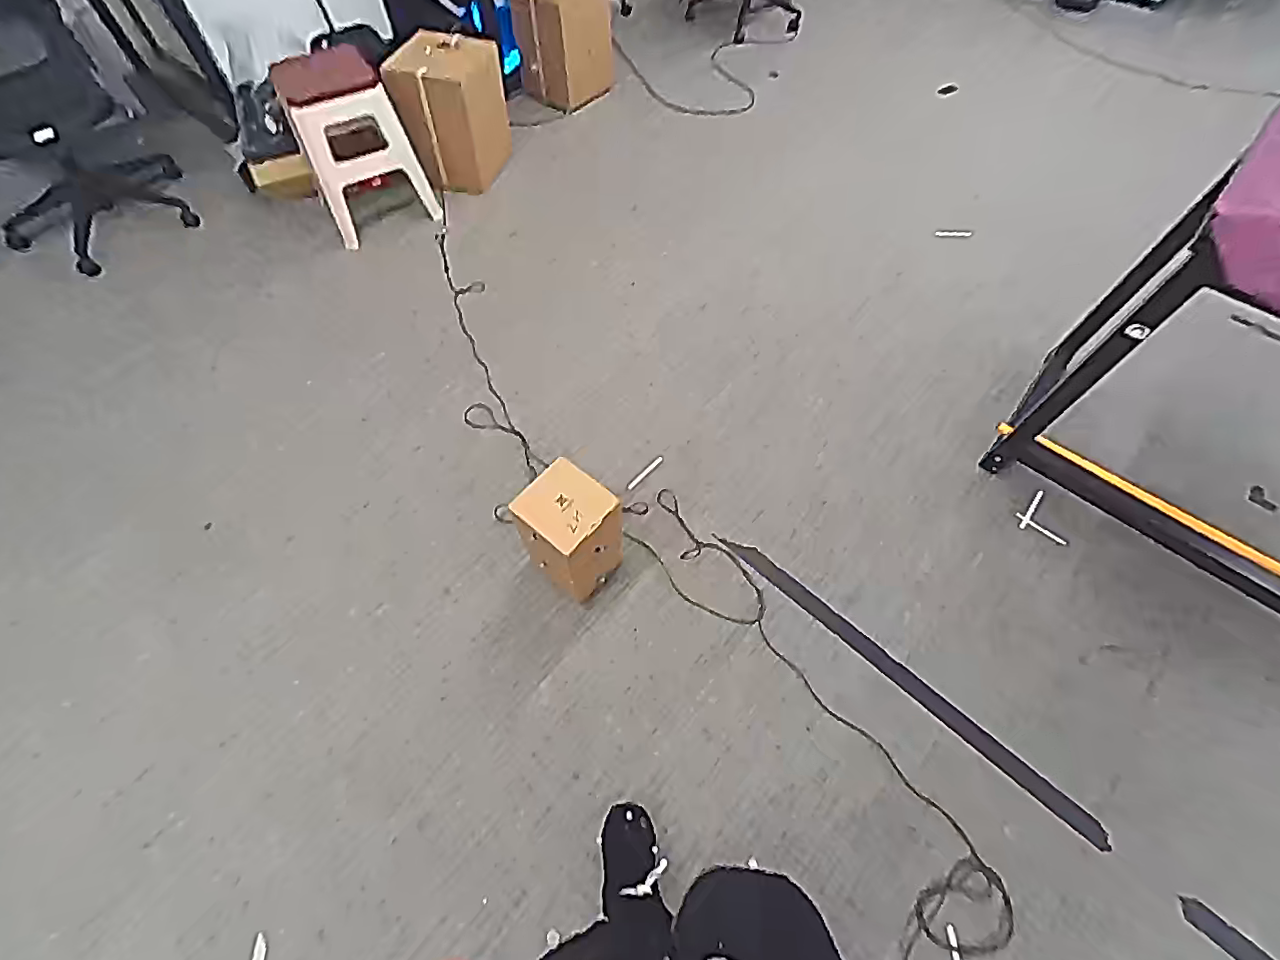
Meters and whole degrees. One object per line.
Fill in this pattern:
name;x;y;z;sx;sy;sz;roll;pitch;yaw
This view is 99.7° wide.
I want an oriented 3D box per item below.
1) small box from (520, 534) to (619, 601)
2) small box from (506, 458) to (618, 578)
small box;-0.168;0.172;1.340;0.179;0.176;0.168;38;67;18
small box;-0.165;0.090;1.197;0.179;0.176;0.168;37;67;18
